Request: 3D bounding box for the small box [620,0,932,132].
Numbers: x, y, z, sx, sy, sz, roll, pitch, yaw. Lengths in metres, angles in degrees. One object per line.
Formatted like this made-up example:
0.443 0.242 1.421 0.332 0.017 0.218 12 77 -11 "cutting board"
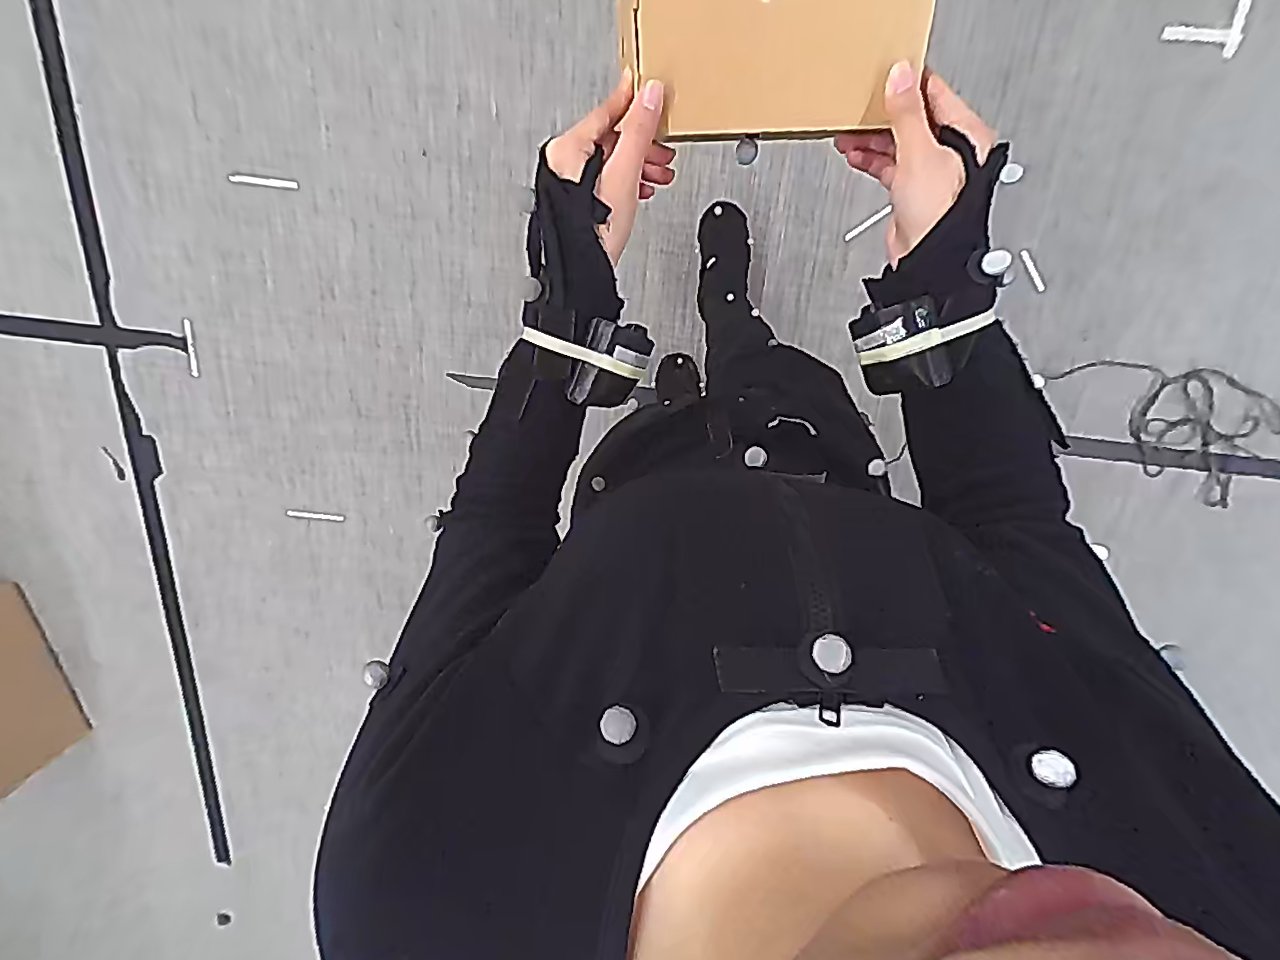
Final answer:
0.077 -0.336 0.363 0.179 0.176 0.168 -3 121 -2 "small box"
